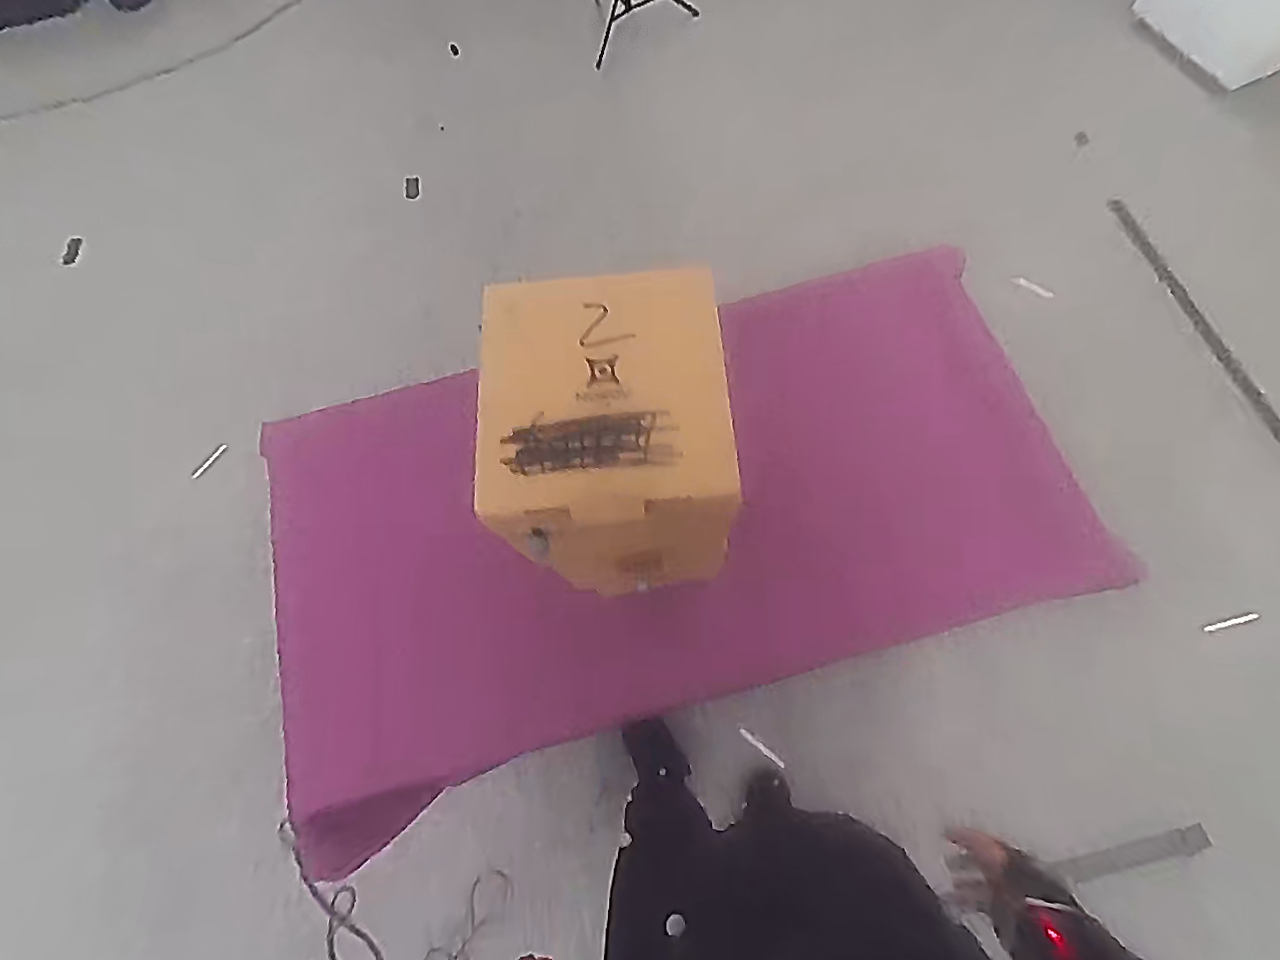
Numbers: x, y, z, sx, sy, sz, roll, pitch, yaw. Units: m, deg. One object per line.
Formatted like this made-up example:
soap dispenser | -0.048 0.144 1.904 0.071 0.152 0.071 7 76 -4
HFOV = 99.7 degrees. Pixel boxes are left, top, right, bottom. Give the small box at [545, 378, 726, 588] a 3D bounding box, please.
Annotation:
small box | -0.005 0.012 0.587 0.168 0.176 0.179 -6 71 2
